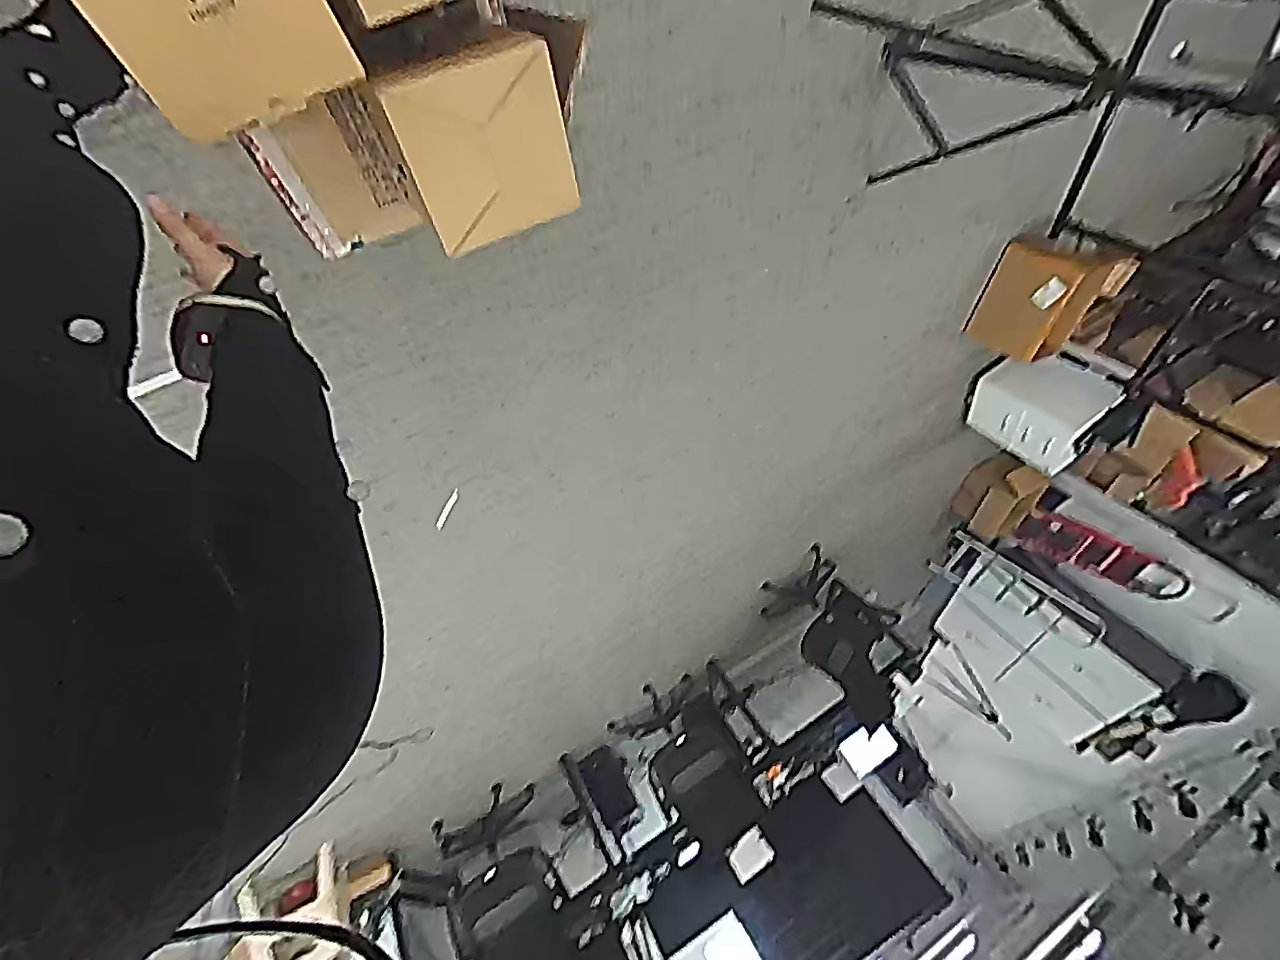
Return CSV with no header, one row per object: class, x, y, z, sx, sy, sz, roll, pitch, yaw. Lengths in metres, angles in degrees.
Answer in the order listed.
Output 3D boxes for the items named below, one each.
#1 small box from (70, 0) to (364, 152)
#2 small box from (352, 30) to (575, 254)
small box,-0.378,-0.425,0.468,0.168,0.176,0.179,-30,141,-8
small box,-0.202,-0.391,0.631,0.179,0.176,0.168,-28,143,-13
